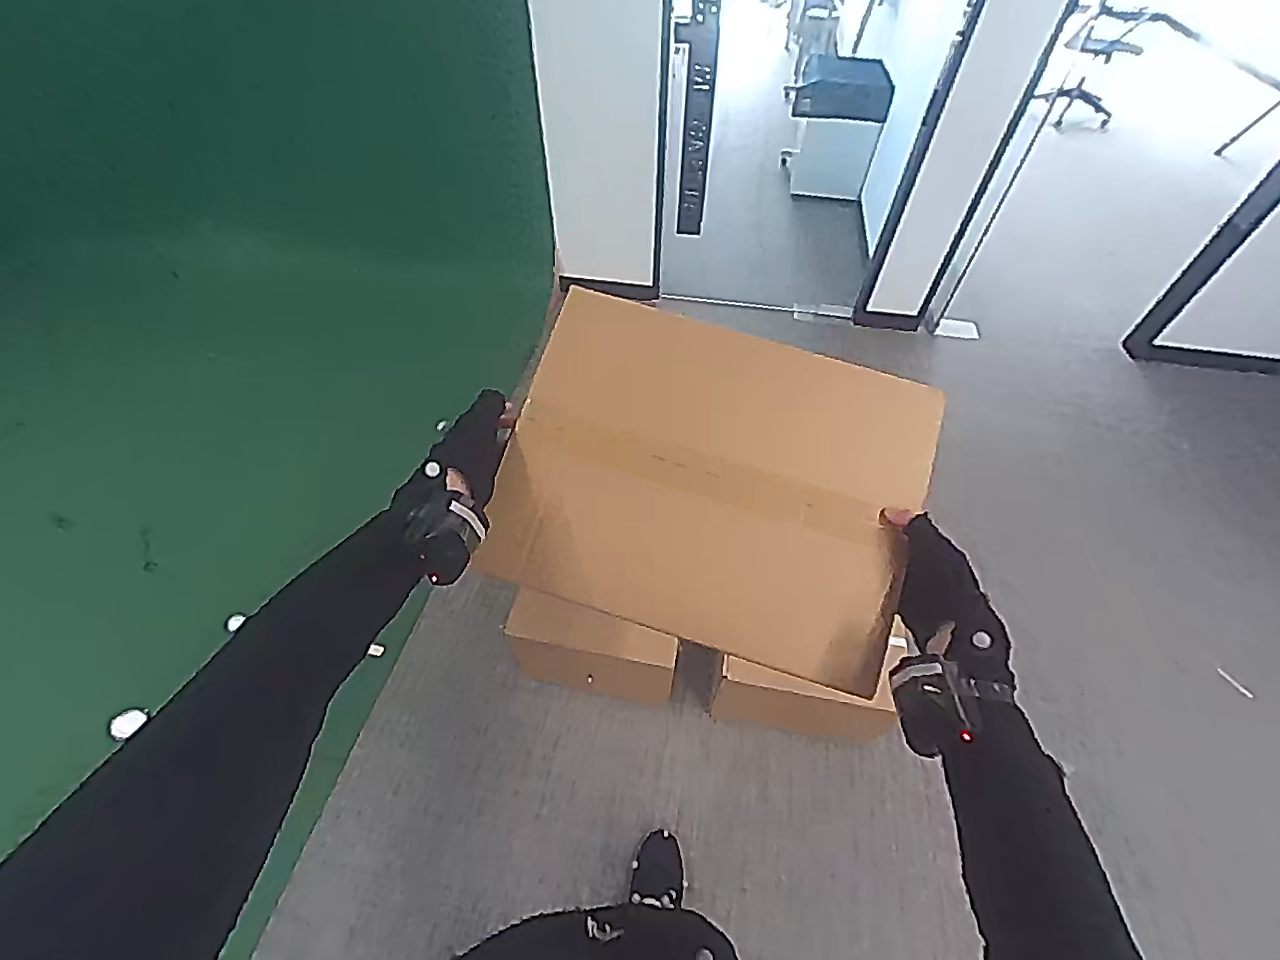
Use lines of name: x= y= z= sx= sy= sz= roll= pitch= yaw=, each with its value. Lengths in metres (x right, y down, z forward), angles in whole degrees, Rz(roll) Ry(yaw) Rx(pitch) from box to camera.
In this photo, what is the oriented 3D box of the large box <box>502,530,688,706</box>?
large box: x=-0.096 y=0.369 z=1.433 sx=0.408 sy=0.320 sz=0.320 roll=9 pitch=51 yaw=8
